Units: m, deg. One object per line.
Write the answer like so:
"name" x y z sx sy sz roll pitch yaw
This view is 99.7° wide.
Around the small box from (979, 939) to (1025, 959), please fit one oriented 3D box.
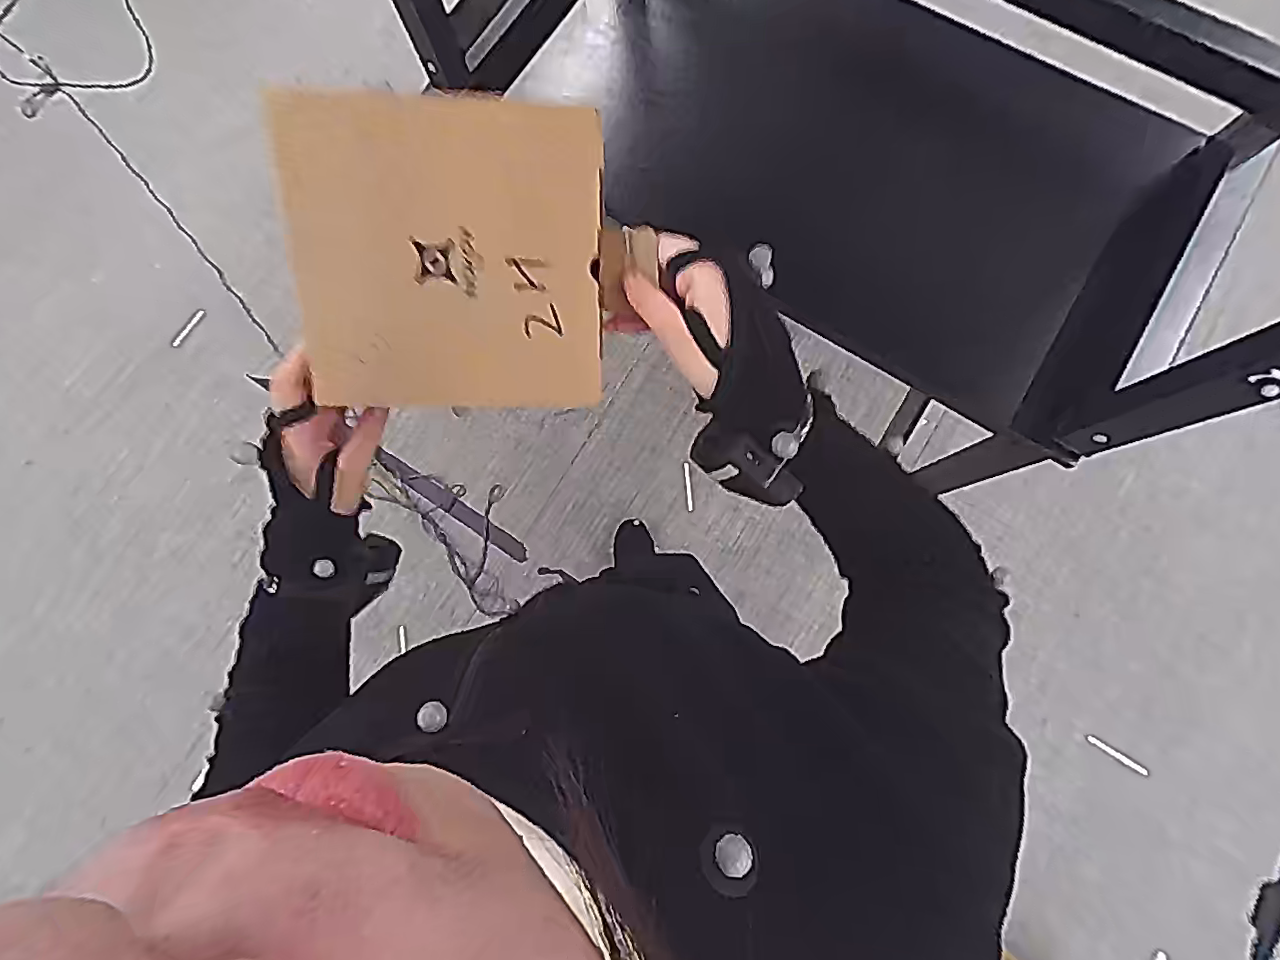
"small box" 0.858 1.198 1.201 0.168 0.176 0.179 34 84 8
